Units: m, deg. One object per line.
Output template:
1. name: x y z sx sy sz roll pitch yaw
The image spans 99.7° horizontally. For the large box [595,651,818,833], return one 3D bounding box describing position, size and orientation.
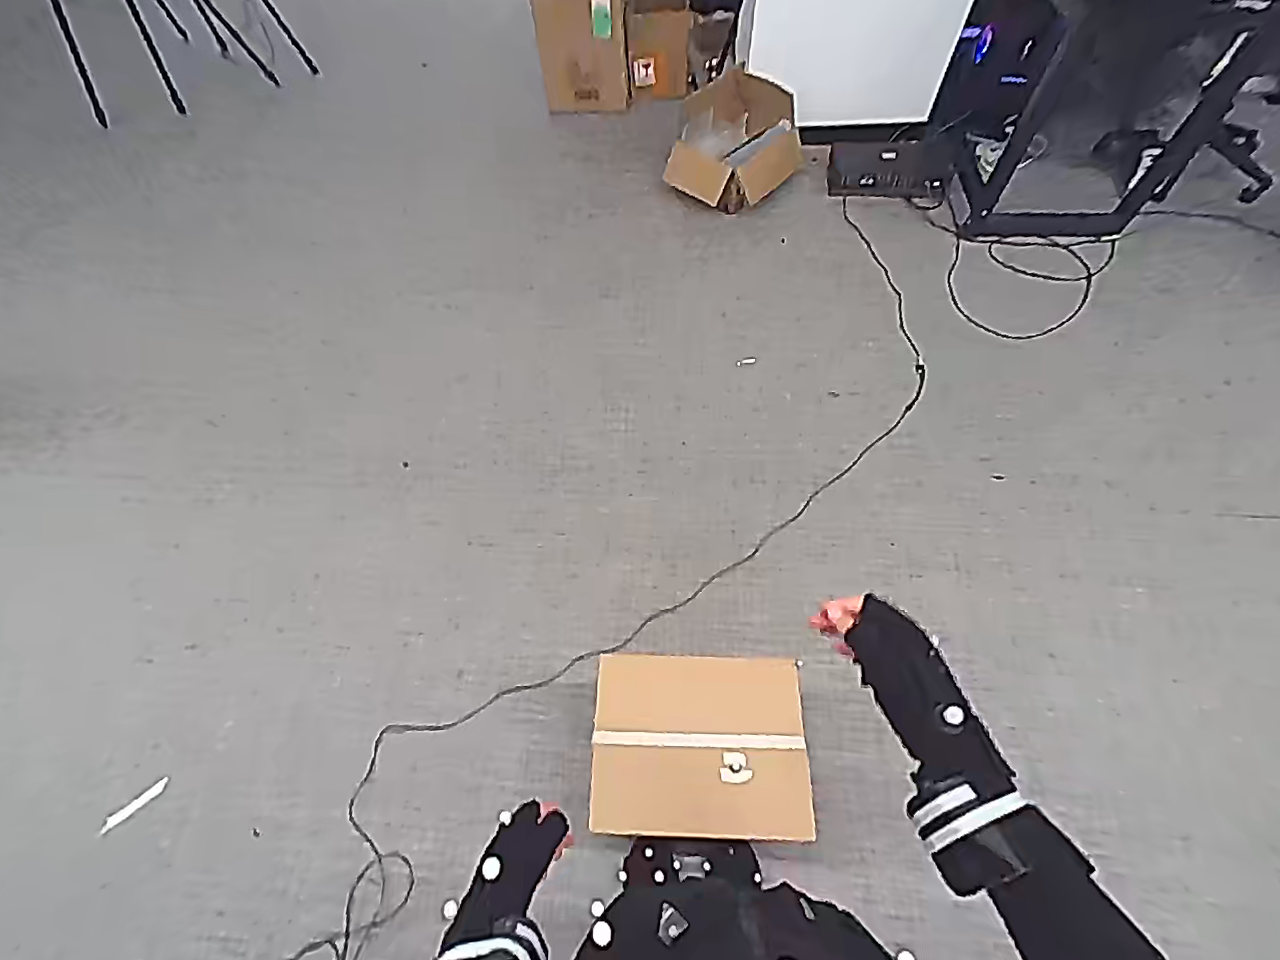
1. large box: 0.122 0.561 1.156 0.408 0.320 0.320 0 60 2
